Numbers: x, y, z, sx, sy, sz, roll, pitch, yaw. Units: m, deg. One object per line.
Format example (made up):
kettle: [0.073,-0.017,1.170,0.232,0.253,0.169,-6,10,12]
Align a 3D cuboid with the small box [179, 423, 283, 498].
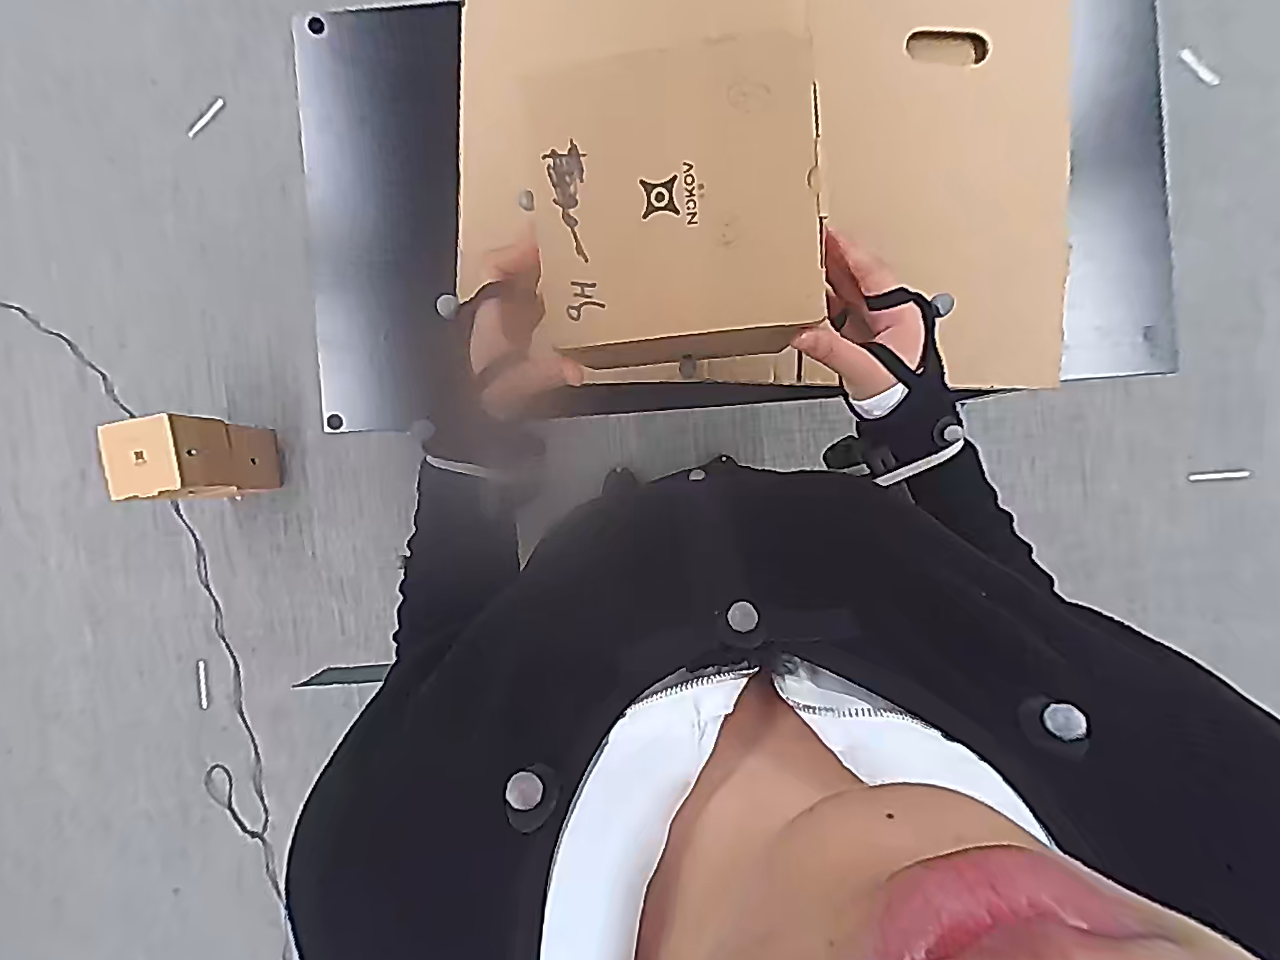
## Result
small box: [-1.107,-0.049,1.458,0.168,0.176,0.179,-8,91,2]

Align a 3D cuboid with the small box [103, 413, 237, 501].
small box: [-1.113,-0.053,1.295,0.168,0.176,0.179,-11,90,1]
